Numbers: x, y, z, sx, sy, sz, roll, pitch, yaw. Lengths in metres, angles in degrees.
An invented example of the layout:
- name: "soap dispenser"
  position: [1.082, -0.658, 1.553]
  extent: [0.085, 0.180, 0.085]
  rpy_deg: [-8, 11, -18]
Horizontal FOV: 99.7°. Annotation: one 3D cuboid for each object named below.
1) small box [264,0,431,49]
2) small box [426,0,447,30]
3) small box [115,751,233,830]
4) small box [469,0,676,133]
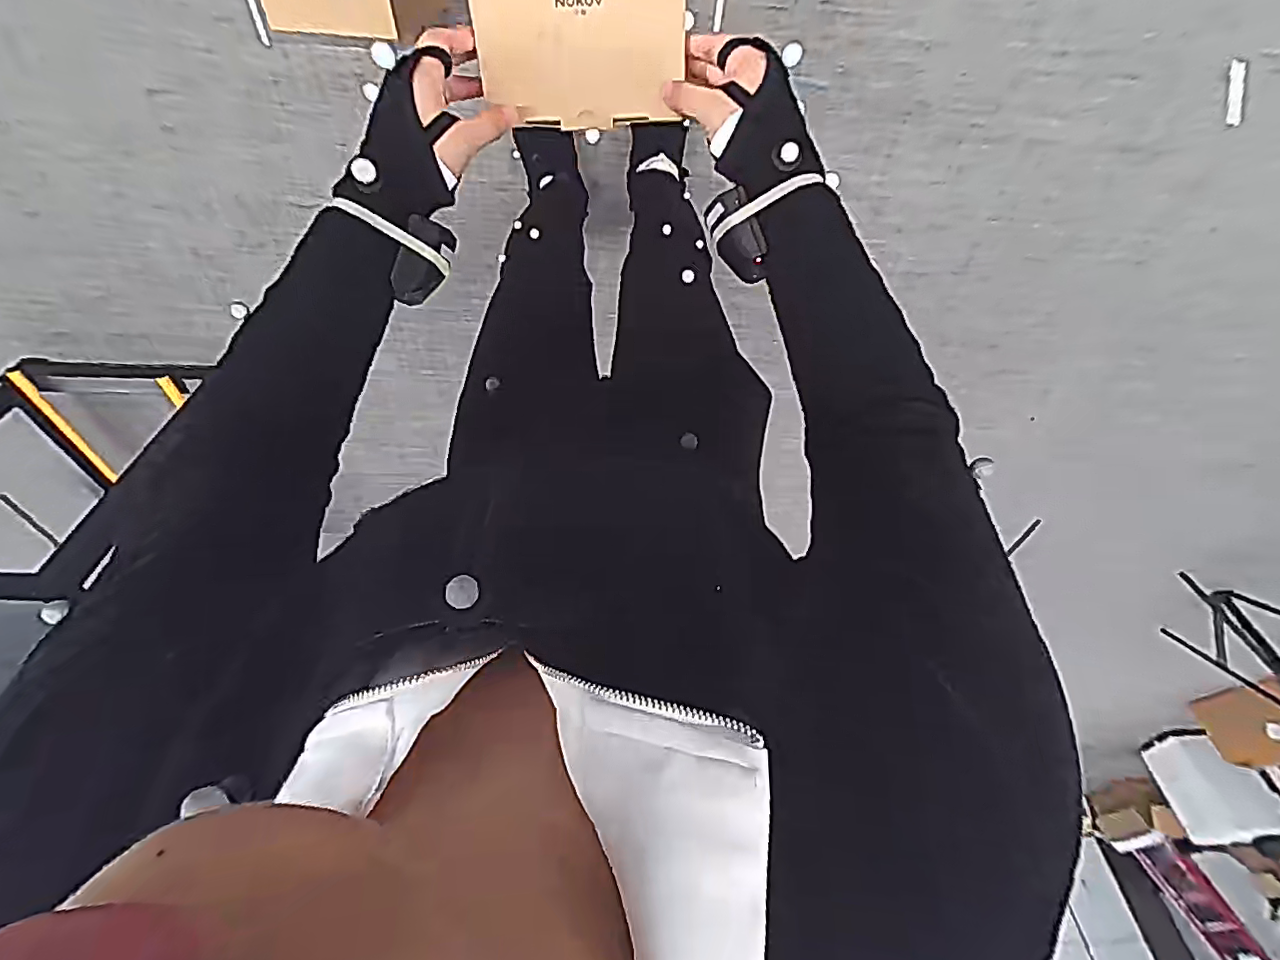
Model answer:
- name: "small box"
  position: [-0.391, -0.695, 0.705]
  extent: [0.168, 0.176, 0.179]
  rpy_deg: [3, 138, -2]
- name: "small box"
  position: [-0.401, -0.811, 0.819]
  extent: [0.179, 0.176, 0.168]
  rpy_deg: [3, 137, -4]
- name: "small box"
  position: [-1.353, 0.913, 1.588]
  extent: [0.168, 0.176, 0.179]
  rpy_deg: [0, 136, -1]
- name: "small box"
  position: [-0.052, -0.422, 0.486]
  extent: [0.168, 0.176, 0.179]
  rpy_deg: [-1, 124, 0]
